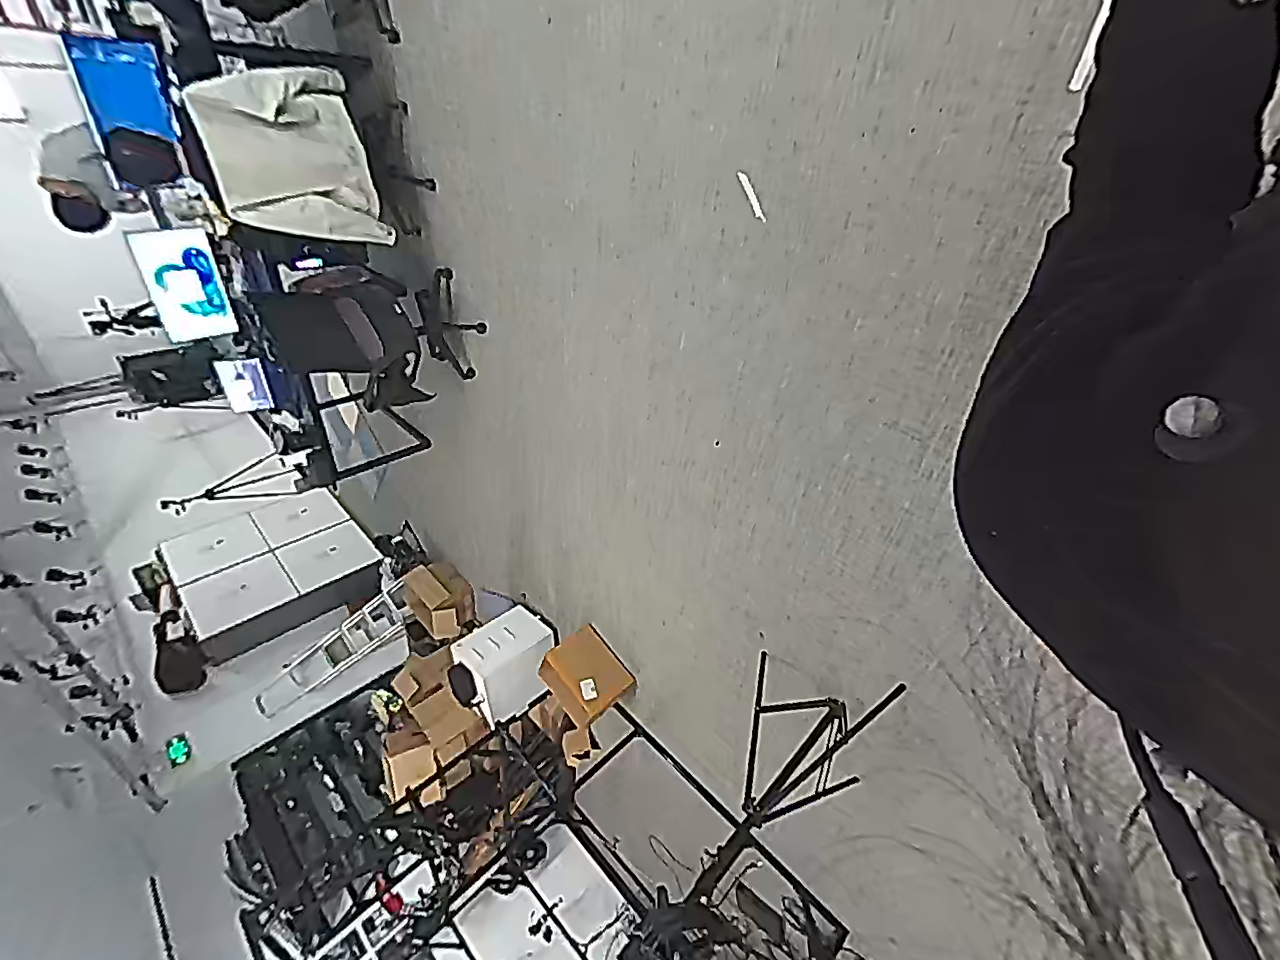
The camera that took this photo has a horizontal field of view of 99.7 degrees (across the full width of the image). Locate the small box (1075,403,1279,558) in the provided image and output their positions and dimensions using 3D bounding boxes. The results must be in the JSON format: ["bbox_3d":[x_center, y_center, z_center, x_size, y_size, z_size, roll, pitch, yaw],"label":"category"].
[{"bbox_3d":[0.637,0.037,0.600,0.168,0.176,0.179,35,136,30],"label":"small box"}]
